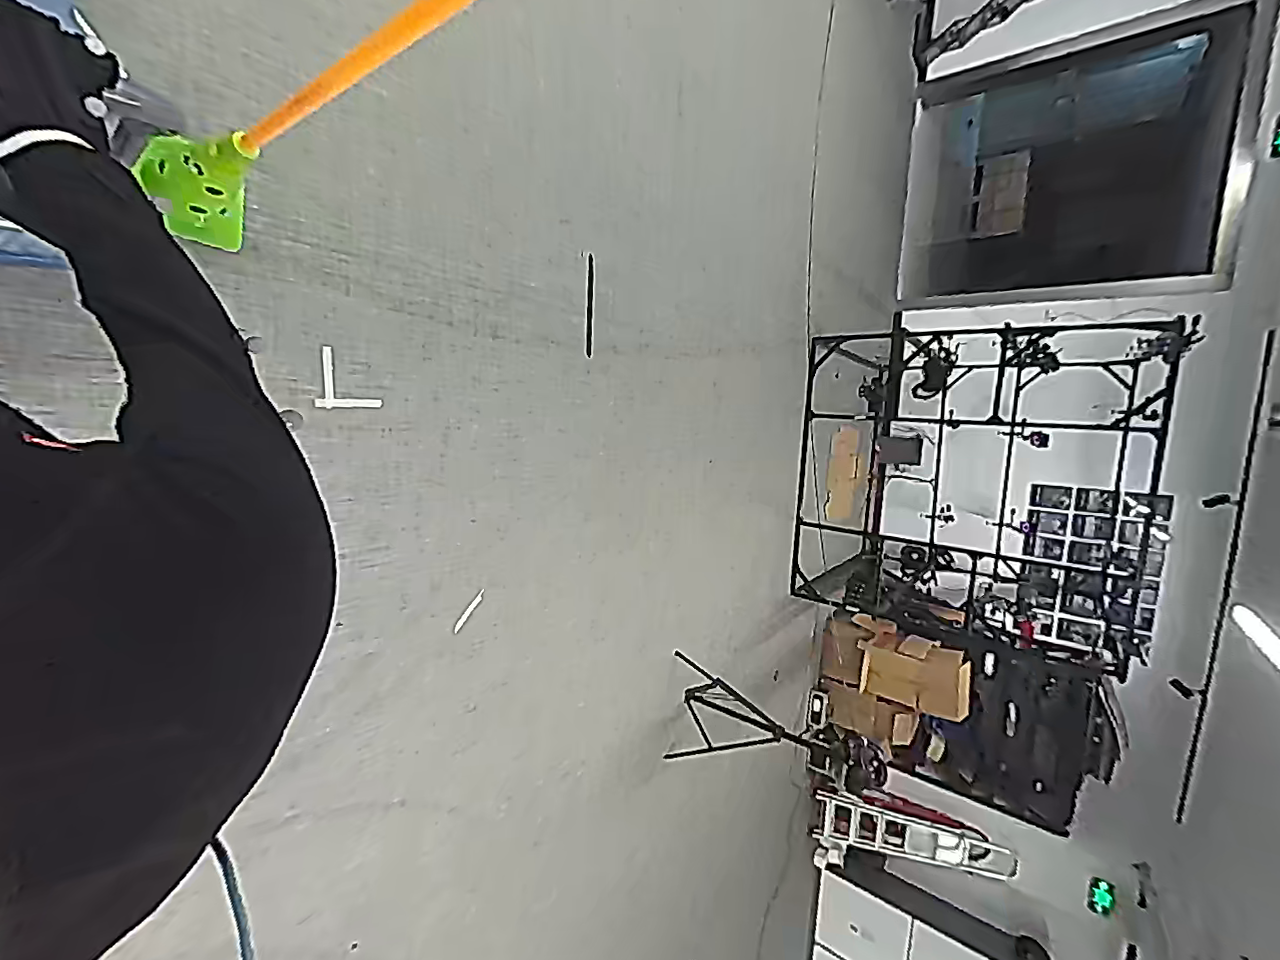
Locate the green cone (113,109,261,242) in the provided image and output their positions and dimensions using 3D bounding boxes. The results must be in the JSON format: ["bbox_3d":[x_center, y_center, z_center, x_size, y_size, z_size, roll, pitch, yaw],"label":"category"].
[{"bbox_3d":[-0.826,-0.608,1.033,0.202,0.368,0.200,1,96,-55],"label":"green cone"}]
